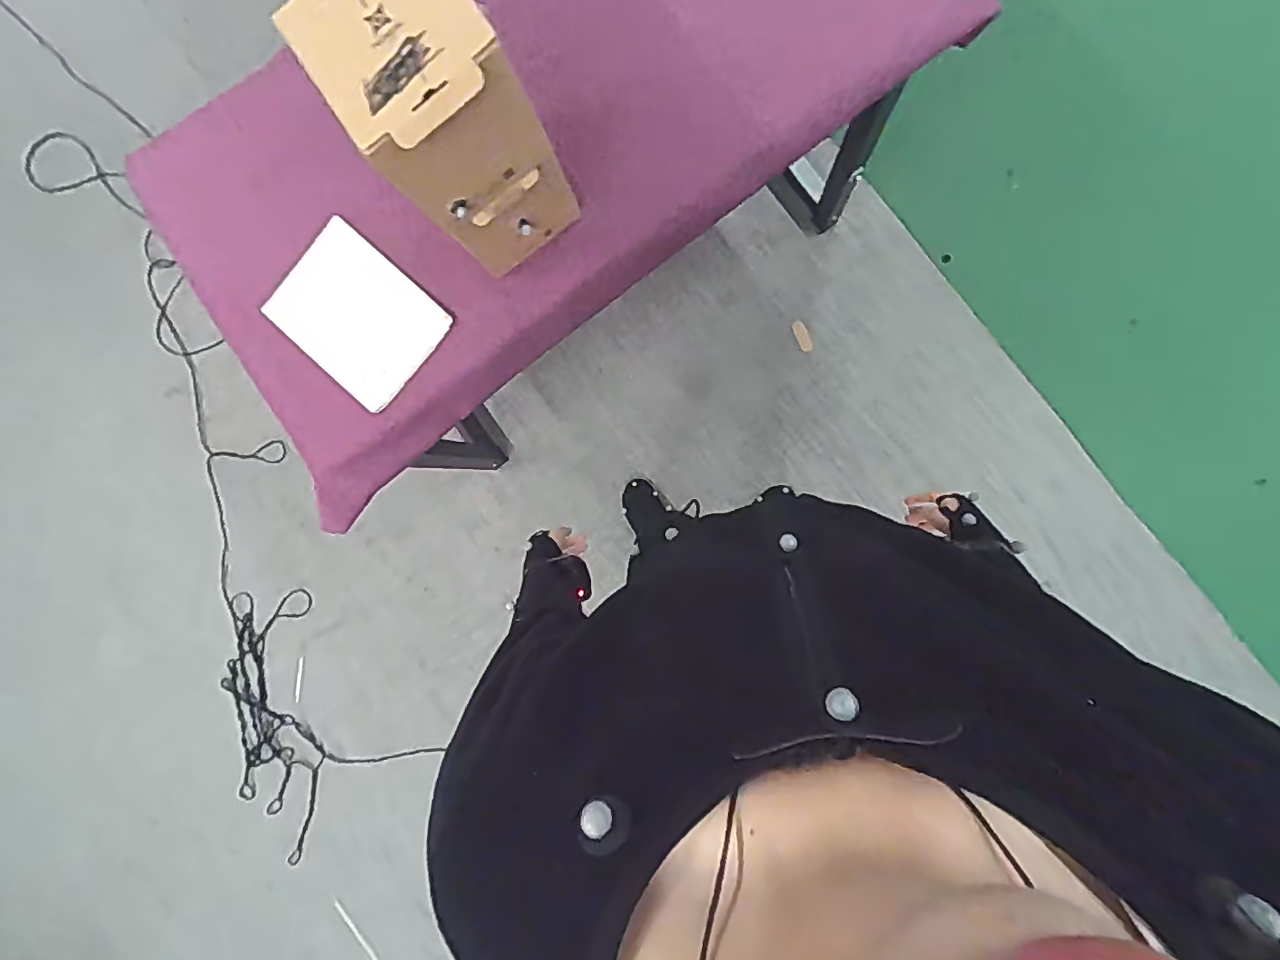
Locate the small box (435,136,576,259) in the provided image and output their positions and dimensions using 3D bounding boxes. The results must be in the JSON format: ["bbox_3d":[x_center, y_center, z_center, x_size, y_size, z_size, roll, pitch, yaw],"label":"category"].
[{"bbox_3d":[-0.212,-0.437,0.751,0.168,0.176,0.179,-35,87,6],"label":"small box"}]

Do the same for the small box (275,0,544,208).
[{"bbox_3d":[-0.230,-0.431,0.586,0.168,0.176,0.179,-35,85,6],"label":"small box"}]
